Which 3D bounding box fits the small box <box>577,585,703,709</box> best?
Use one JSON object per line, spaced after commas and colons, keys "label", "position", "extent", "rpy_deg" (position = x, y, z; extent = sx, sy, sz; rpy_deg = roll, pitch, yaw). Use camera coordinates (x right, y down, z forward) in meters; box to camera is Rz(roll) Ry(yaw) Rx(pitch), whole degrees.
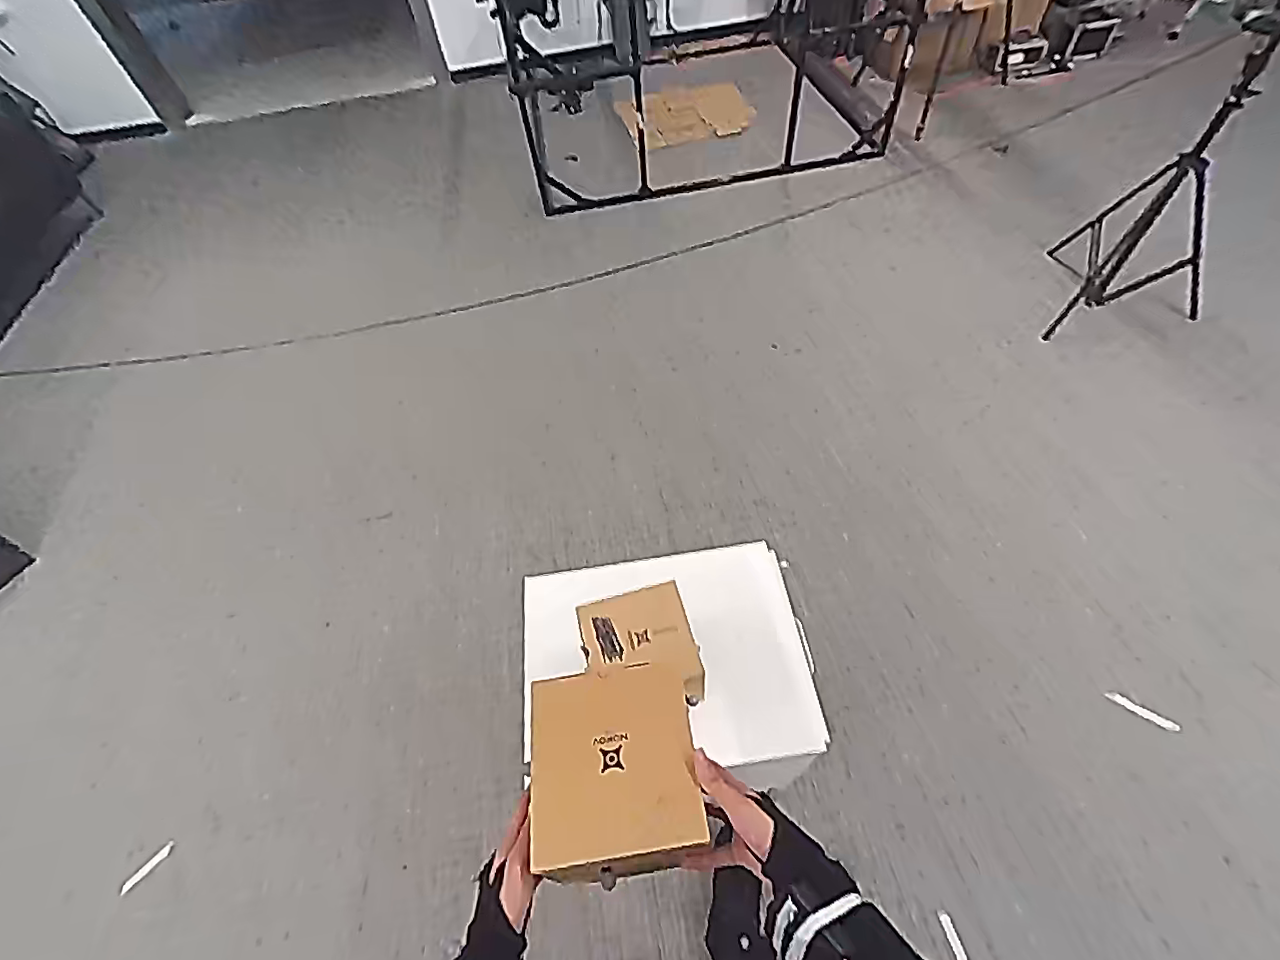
{"label": "small box", "position": [0.003, 0.306, 0.924], "extent": [0.179, 0.176, 0.168], "rpy_deg": [-14, 54, -5]}

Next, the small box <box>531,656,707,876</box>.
{"label": "small box", "position": [-0.020, 0.323, 0.603], "extent": [0.168, 0.176, 0.179], "rpy_deg": [-9, 48, -1]}
